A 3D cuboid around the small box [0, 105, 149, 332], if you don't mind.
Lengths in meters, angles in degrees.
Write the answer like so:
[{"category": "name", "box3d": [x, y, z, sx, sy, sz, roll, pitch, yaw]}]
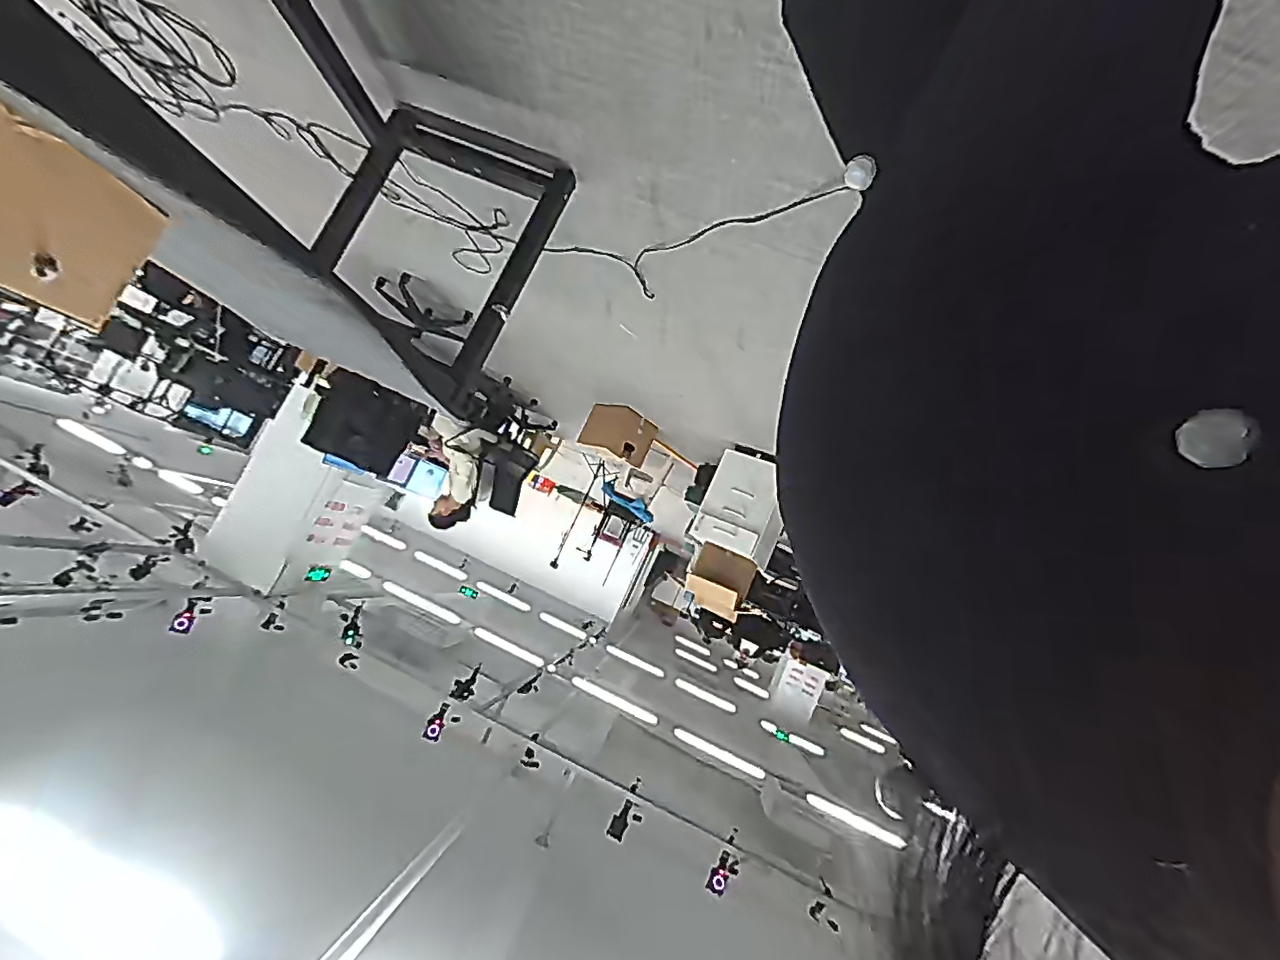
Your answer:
[{"category": "small box", "box3d": [-0.687, -0.291, 0.562, 0.168, 0.176, 0.179, 24, 171, 2]}]
